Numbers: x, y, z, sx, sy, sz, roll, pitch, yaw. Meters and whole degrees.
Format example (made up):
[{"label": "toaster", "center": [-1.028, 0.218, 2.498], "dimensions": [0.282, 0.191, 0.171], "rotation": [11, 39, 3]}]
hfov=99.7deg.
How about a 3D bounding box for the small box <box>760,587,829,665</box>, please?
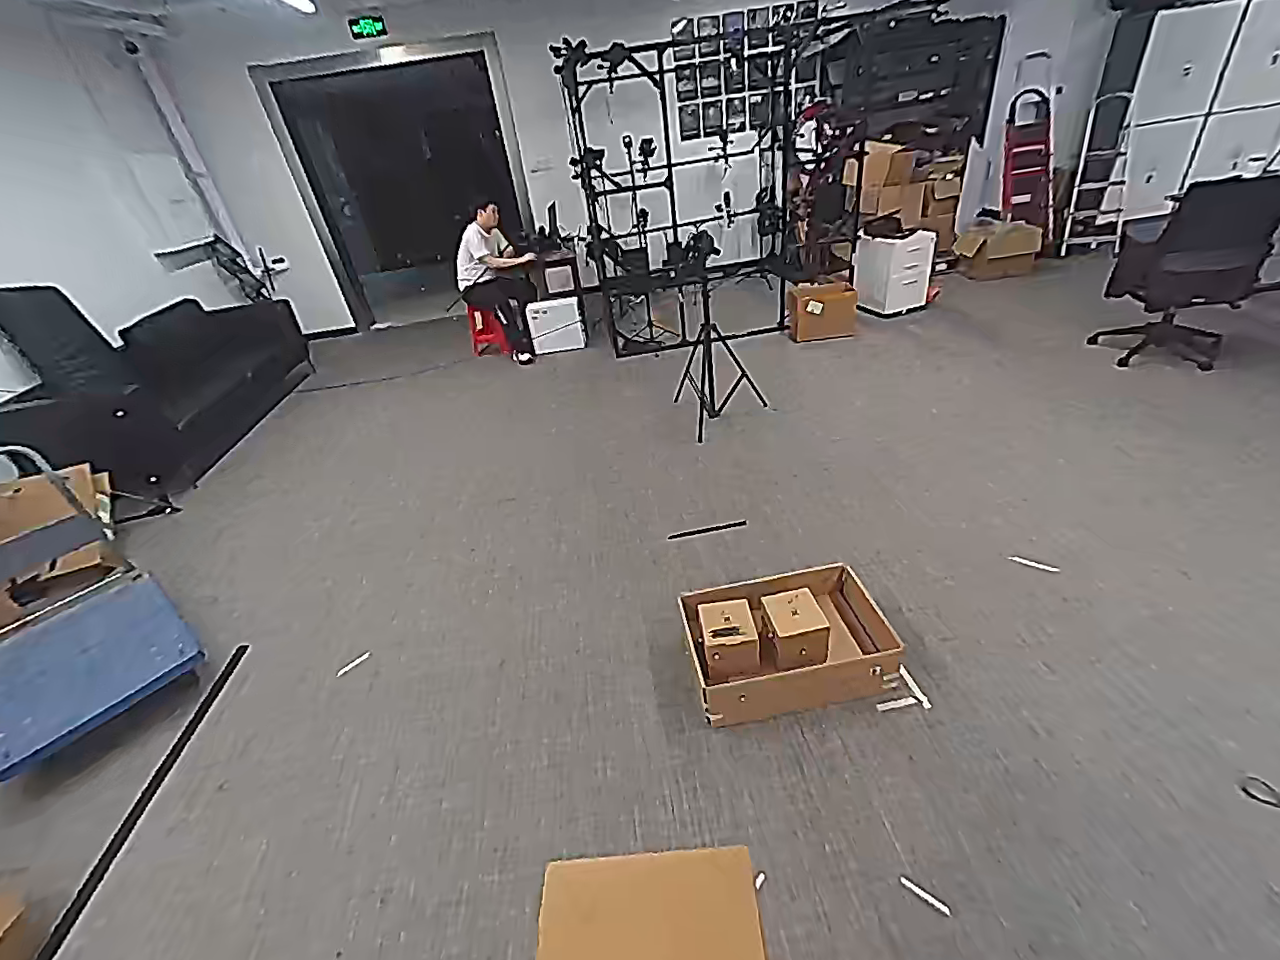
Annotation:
[{"label": "small box", "center": [0.502, 0.484, 1.771], "dimensions": [0.168, 0.176, 0.179], "rotation": [-11, 33, -3]}]
